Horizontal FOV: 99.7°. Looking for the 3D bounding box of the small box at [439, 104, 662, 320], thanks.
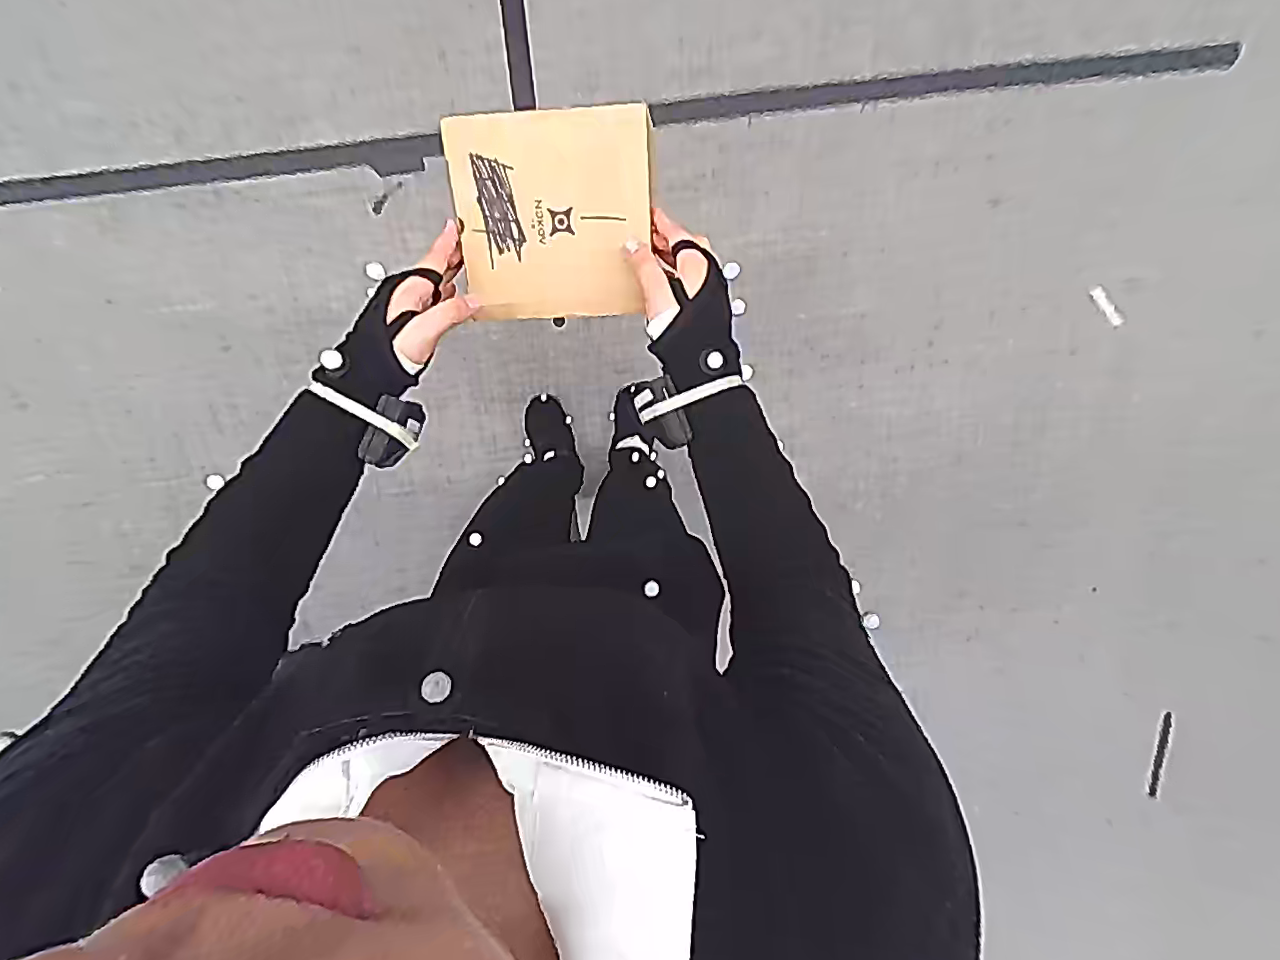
[{"bbox_3d":[-0.070,-0.254,0.537,0.179,0.176,0.168,-1,114,4],"label":"small box"}]
